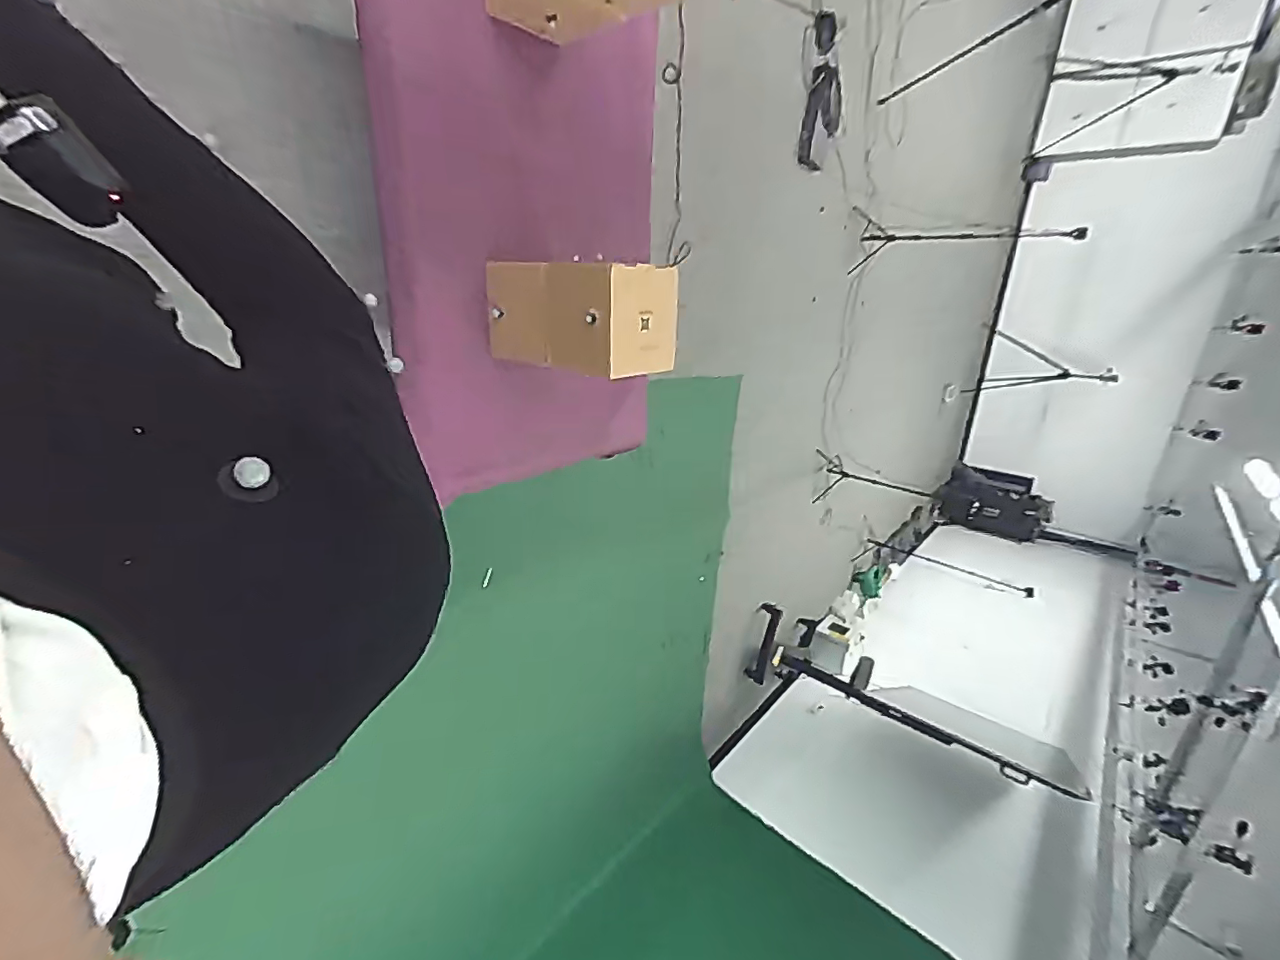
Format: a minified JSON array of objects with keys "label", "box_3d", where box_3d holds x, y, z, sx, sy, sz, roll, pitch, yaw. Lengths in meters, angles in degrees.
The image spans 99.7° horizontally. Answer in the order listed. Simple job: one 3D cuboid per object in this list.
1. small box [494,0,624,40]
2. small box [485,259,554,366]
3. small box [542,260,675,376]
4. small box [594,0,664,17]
[{"label":"small box","box_3d":[-0.137,-0.852,0.871,0.168,0.176,0.179,-19,119,-46]},{"label":"small box","box_3d":[-0.181,-0.326,1.041,0.168,0.176,0.179,-21,121,-45]},{"label":"small box","box_3d":[-0.058,-0.283,0.942,0.168,0.176,0.179,-18,118,-45]},{"label":"small box","box_3d":[-0.018,-0.809,0.770,0.168,0.176,0.179,-18,118,-45]}]
